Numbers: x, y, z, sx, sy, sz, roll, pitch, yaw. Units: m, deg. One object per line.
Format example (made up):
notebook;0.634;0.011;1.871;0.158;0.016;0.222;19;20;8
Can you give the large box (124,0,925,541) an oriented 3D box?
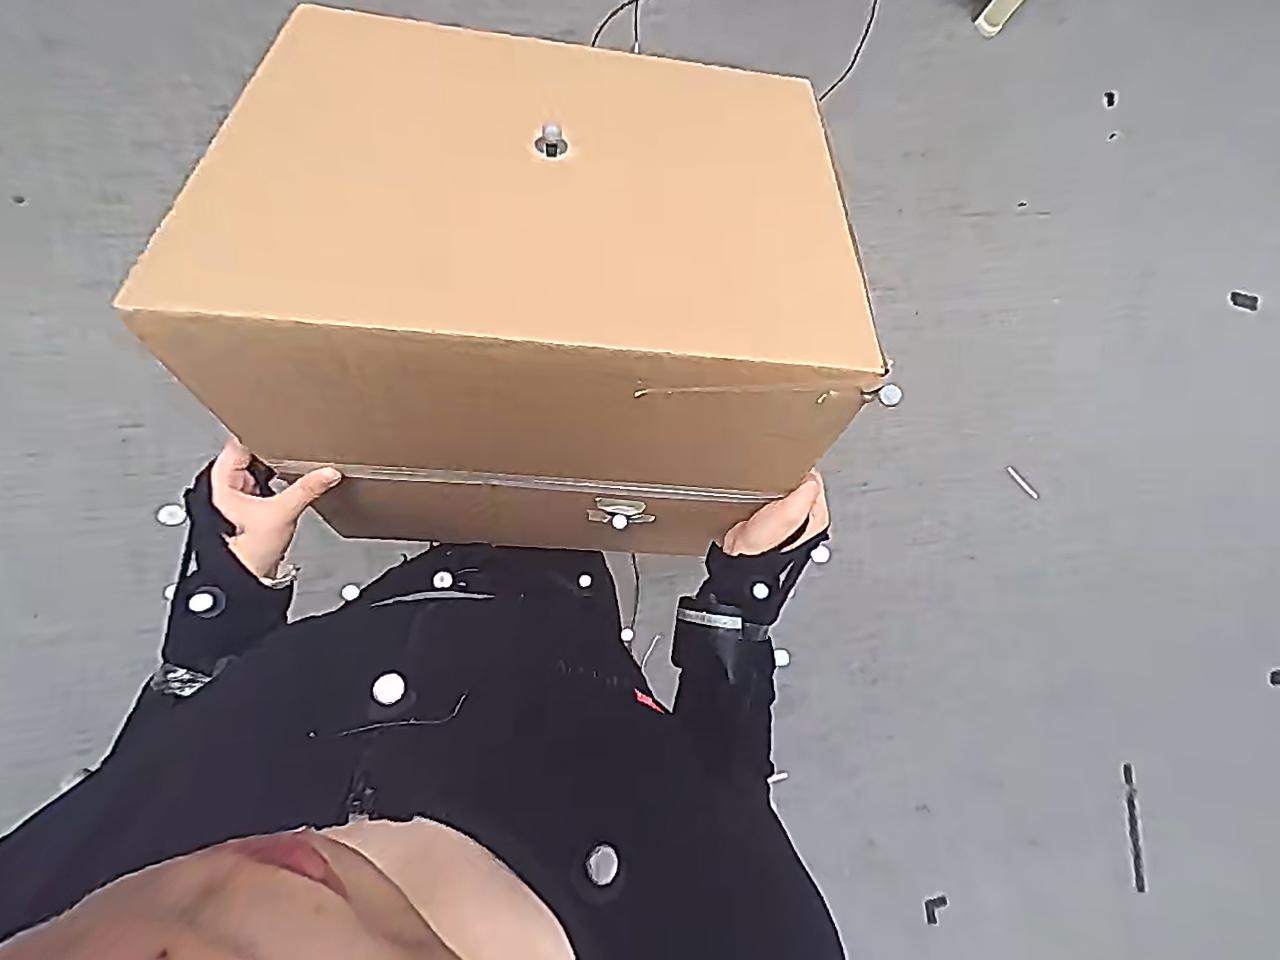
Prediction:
large box;-0.062;-0.149;0.466;0.408;0.320;0.320;3;64;-6
